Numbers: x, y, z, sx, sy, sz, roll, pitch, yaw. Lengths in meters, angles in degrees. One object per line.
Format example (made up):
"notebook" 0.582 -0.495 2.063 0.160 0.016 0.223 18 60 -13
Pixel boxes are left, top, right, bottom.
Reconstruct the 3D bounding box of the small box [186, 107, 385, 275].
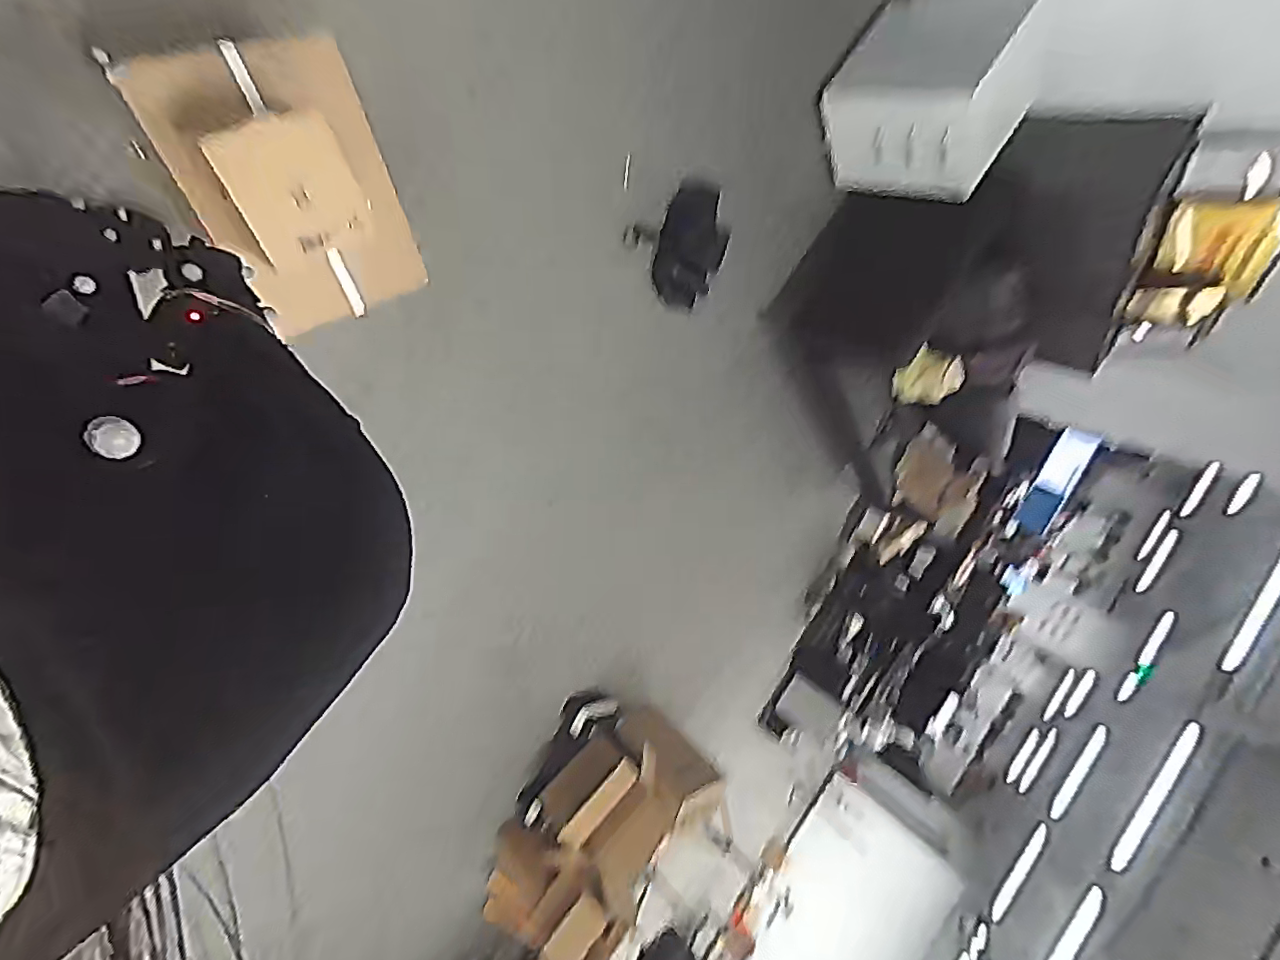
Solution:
"small box" -0.535 -0.440 0.821 0.168 0.176 0.179 -41 140 -24
